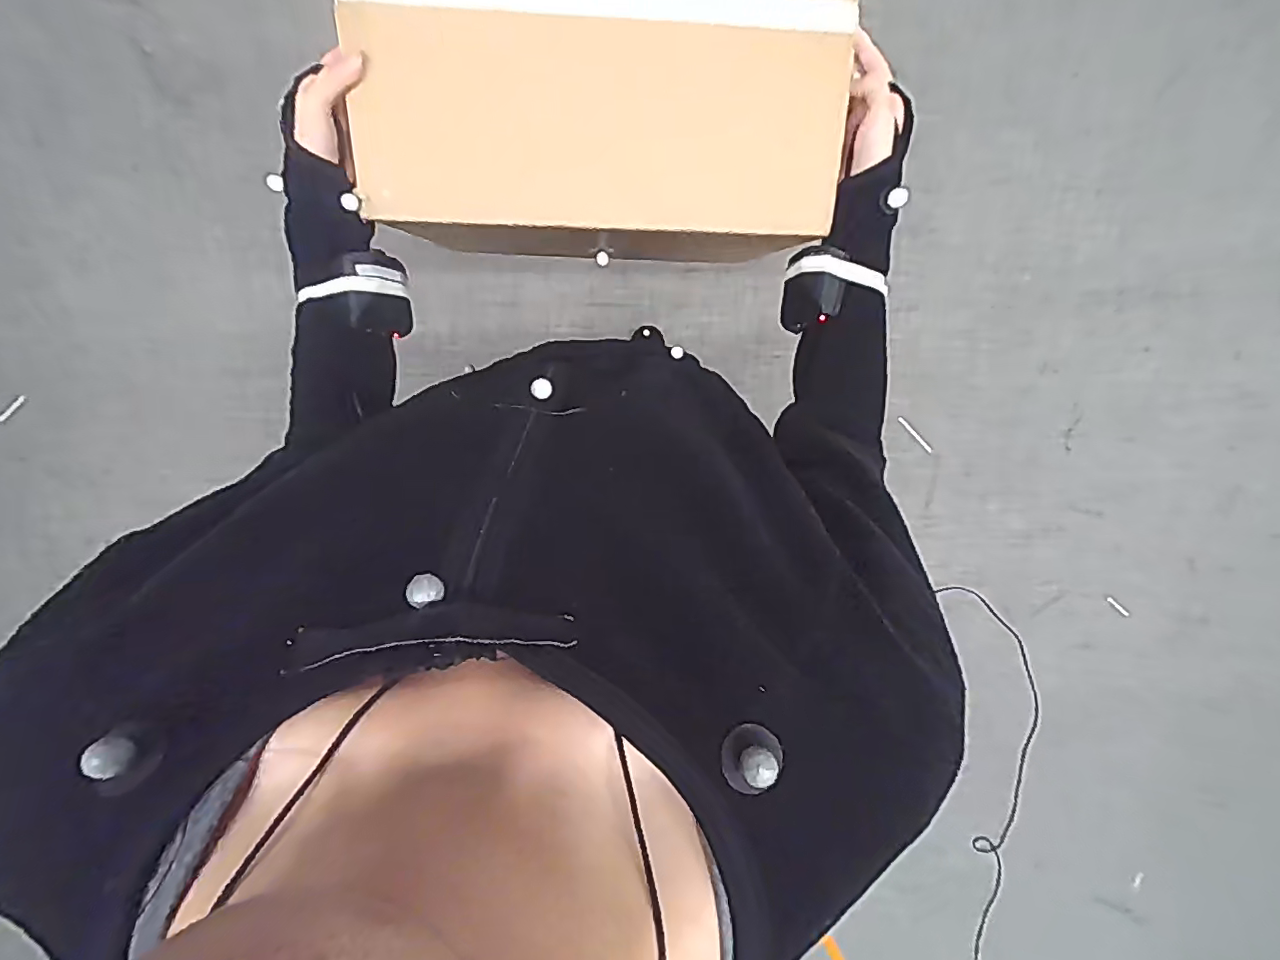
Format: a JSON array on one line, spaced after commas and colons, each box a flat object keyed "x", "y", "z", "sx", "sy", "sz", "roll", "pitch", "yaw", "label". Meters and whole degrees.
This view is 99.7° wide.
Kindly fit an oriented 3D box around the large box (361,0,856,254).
[{"x": -0.029, "y": -0.419, "z": 0.576, "sx": 0.408, "sy": 0.320, "sz": 0.320, "roll": 0, "pitch": 107, "yaw": -4, "label": "large box"}]
